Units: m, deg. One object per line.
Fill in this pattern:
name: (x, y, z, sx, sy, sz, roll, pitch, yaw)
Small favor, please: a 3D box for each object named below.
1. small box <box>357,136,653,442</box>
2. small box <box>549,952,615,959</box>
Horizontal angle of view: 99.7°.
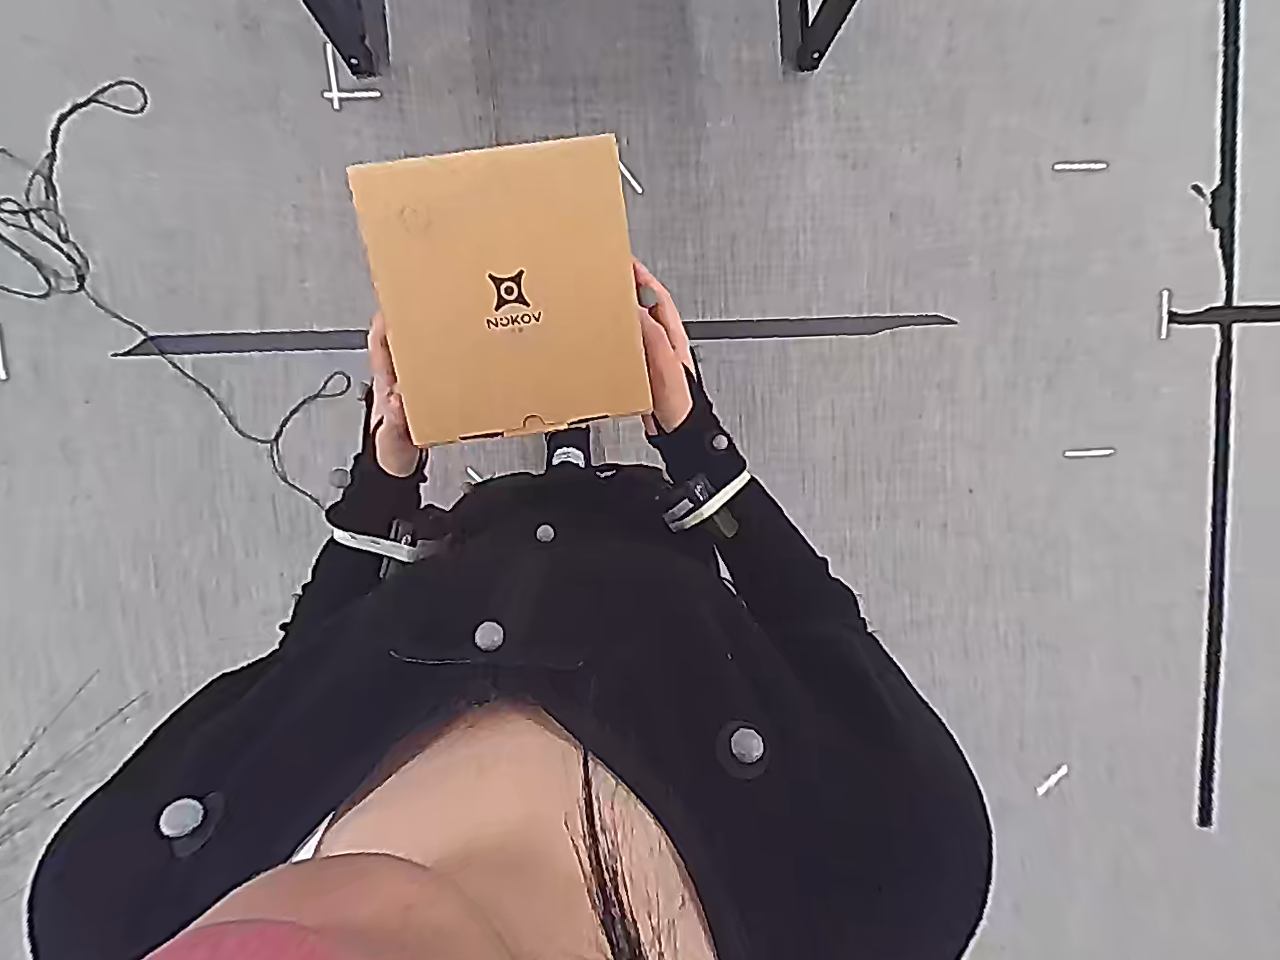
small box: (-0.090, -0.139, 0.430, 0.168, 0.176, 0.179, -9, 105, -3)
small box: (-0.134, 1.205, 1.204, 0.179, 0.176, 0.168, -5, 94, -3)
